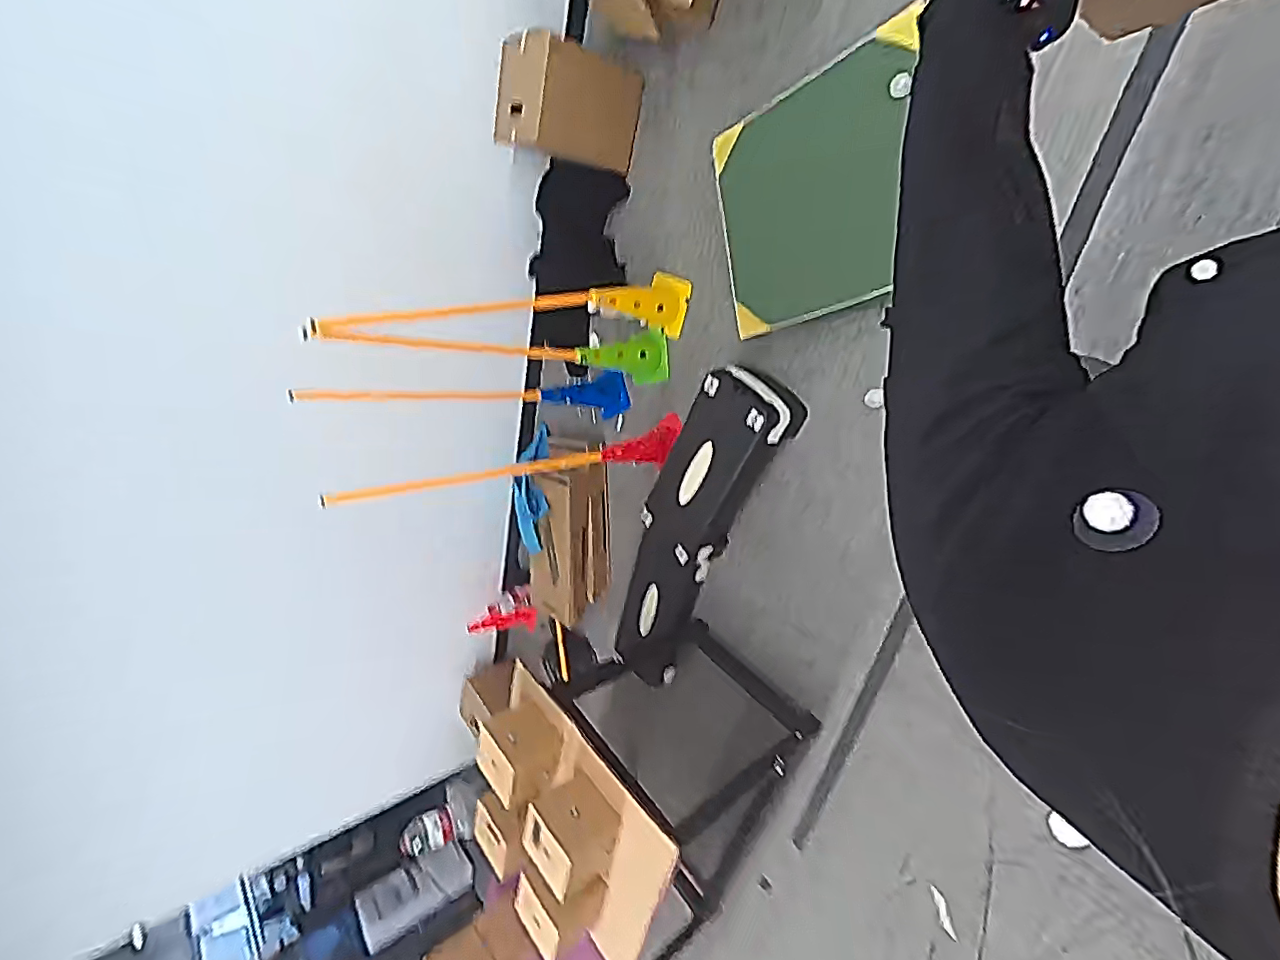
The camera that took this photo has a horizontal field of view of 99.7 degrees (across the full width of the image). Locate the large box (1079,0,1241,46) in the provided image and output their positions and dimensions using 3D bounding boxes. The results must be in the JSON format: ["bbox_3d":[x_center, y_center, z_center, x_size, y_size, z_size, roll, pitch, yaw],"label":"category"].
[{"bbox_3d":[0.505,-0.543,0.301,0.408,0.320,0.320,7,114,47],"label":"large box"}]
